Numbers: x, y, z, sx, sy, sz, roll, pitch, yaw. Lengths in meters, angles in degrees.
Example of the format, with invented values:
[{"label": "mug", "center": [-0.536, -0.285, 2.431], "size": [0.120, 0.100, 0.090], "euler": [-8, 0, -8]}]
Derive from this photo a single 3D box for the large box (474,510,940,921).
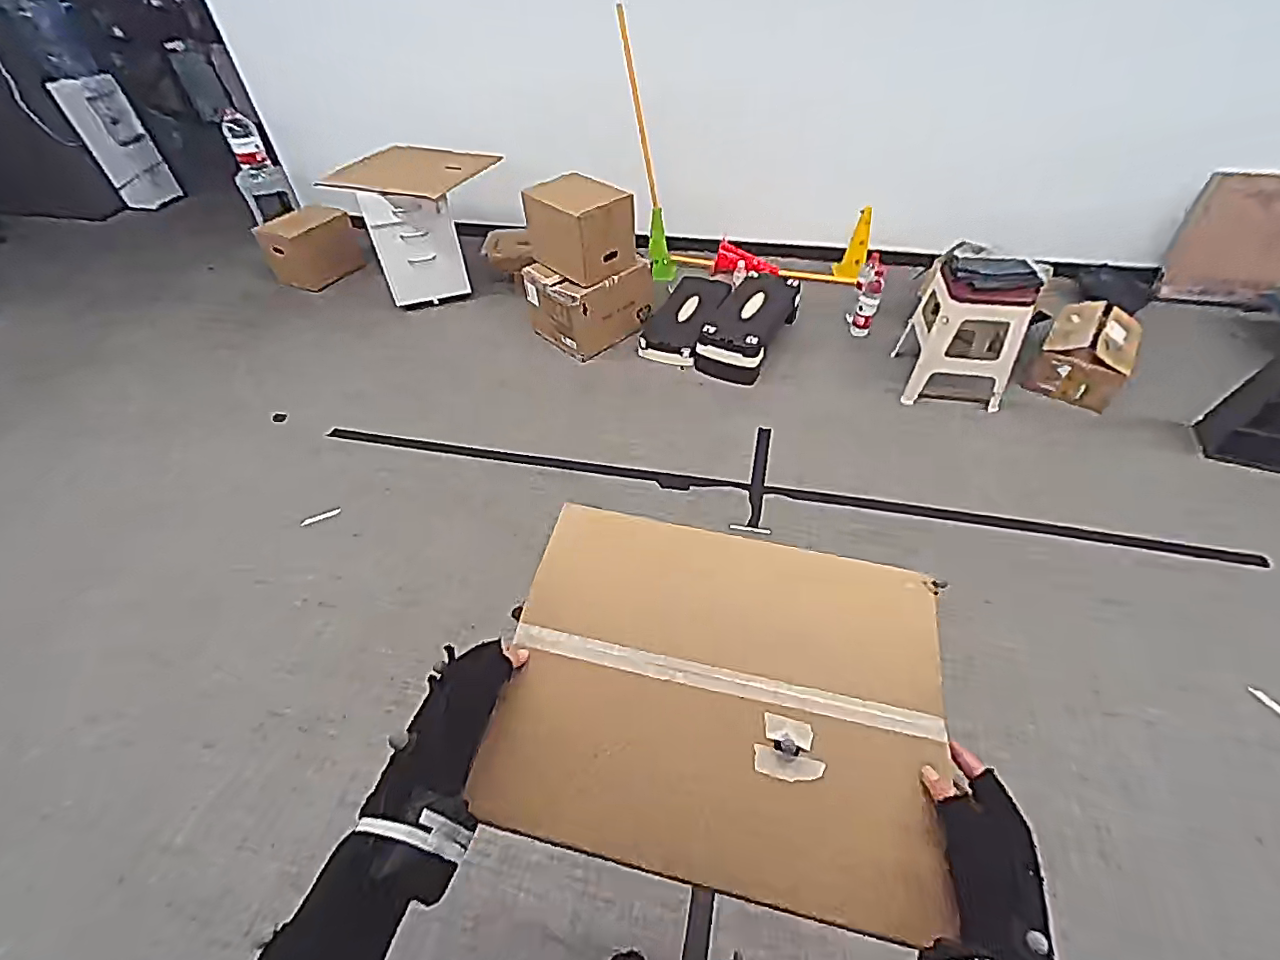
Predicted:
[{"label": "large box", "center": [0.076, 0.275, 0.654], "size": [0.408, 0.320, 0.320], "euler": [11, 57, 8]}]
